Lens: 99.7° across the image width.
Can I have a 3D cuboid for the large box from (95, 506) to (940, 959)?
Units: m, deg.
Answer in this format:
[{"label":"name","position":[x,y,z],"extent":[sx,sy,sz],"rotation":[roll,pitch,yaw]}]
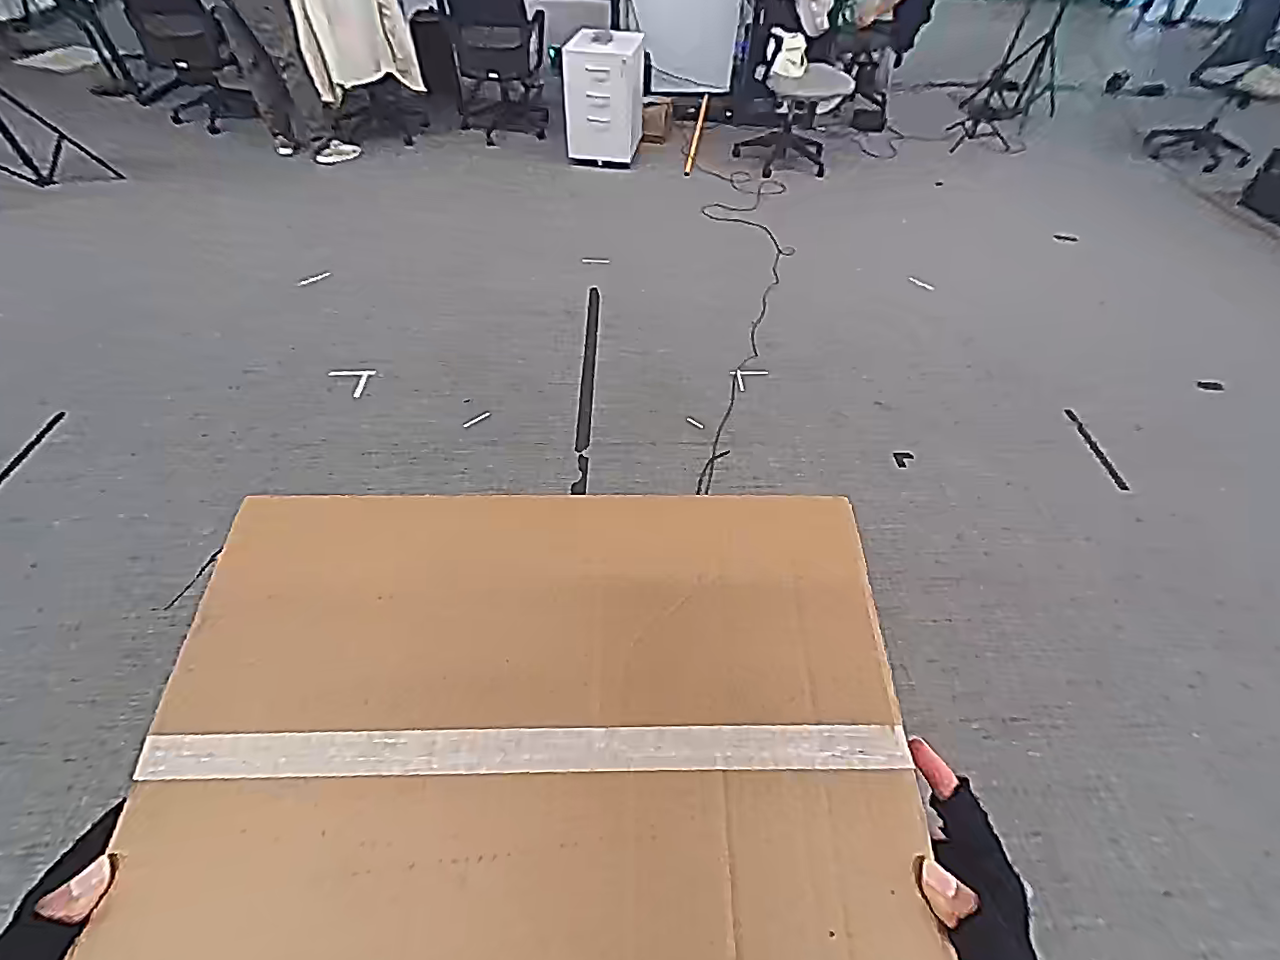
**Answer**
[{"label":"large box","position":[-0.059,0.227,0.426],"extent":[0.408,0.320,0.320],"rotation":[0,60,-1]}]
